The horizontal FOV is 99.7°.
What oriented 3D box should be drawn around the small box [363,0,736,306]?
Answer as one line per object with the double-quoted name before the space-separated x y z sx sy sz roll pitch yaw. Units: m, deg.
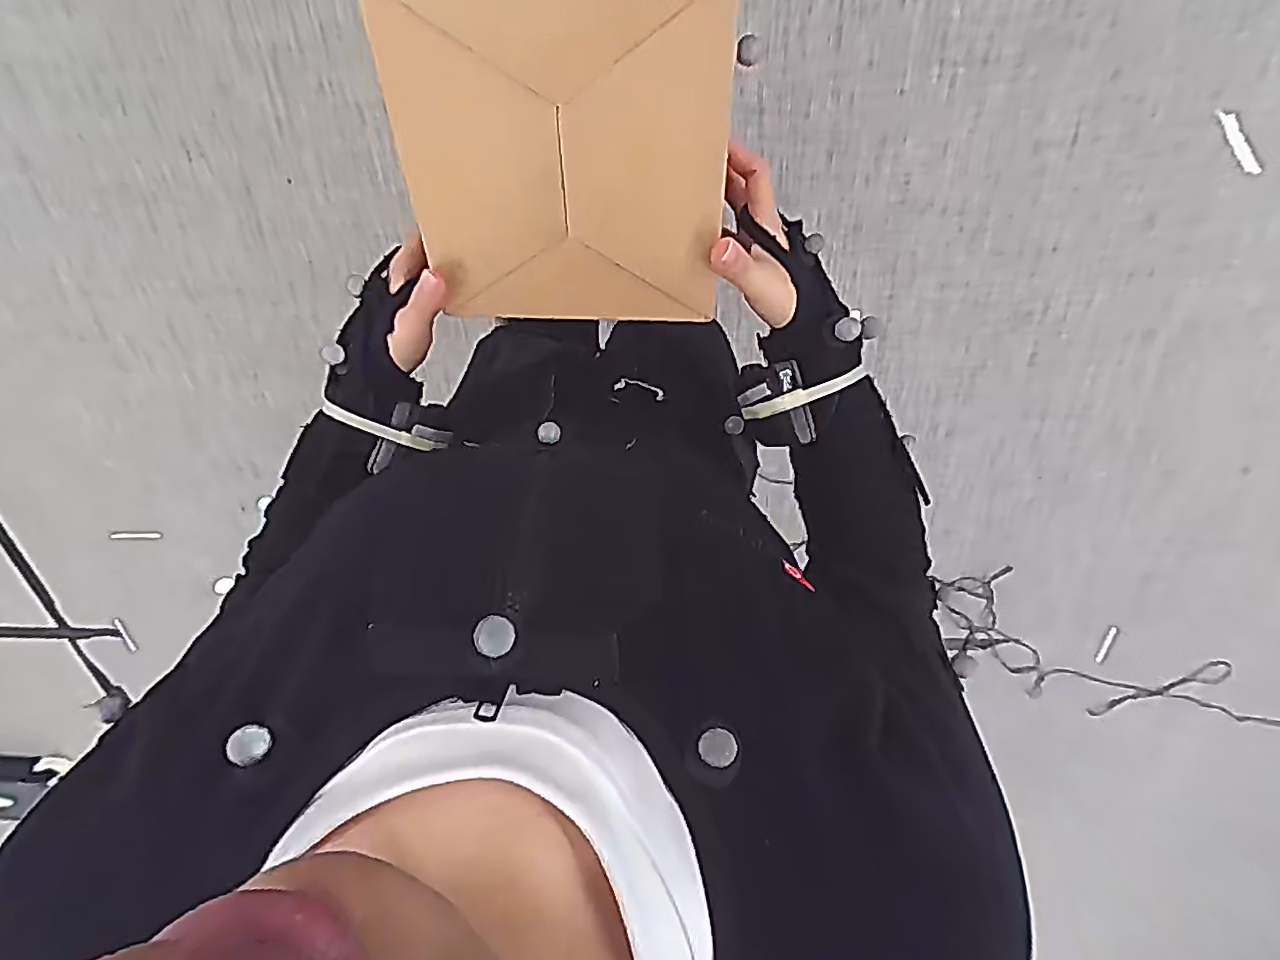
"small box" -0.034 -0.222 0.345 0.179 0.176 0.168 2 132 3
